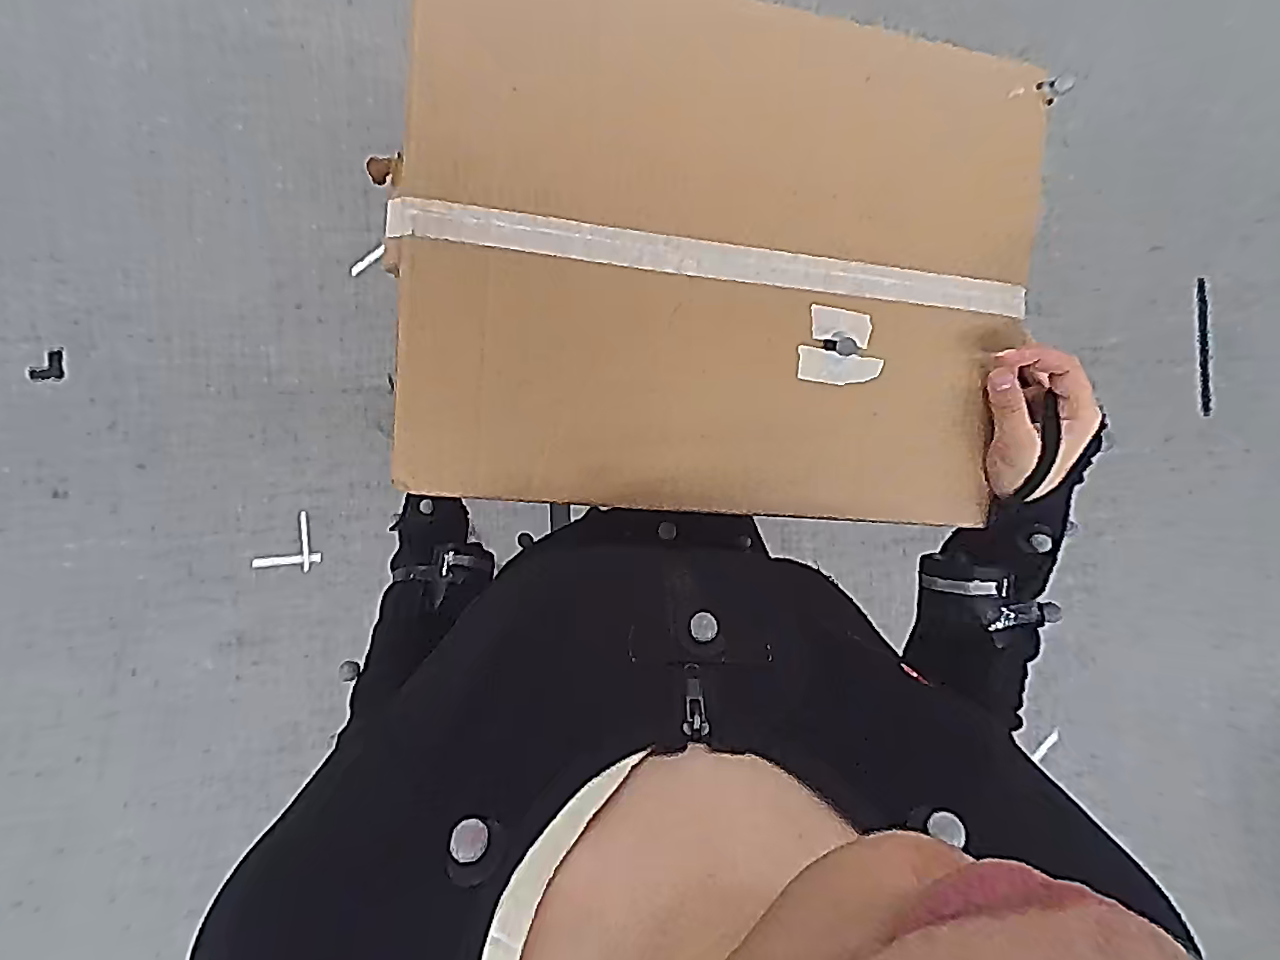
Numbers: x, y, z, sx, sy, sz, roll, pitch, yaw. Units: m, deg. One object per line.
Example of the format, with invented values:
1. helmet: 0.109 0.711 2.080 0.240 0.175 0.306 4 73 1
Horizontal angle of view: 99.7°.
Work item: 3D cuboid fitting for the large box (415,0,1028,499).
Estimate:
1. large box: 0.038 -0.158 0.492 0.408 0.320 0.320 4 94 -12
